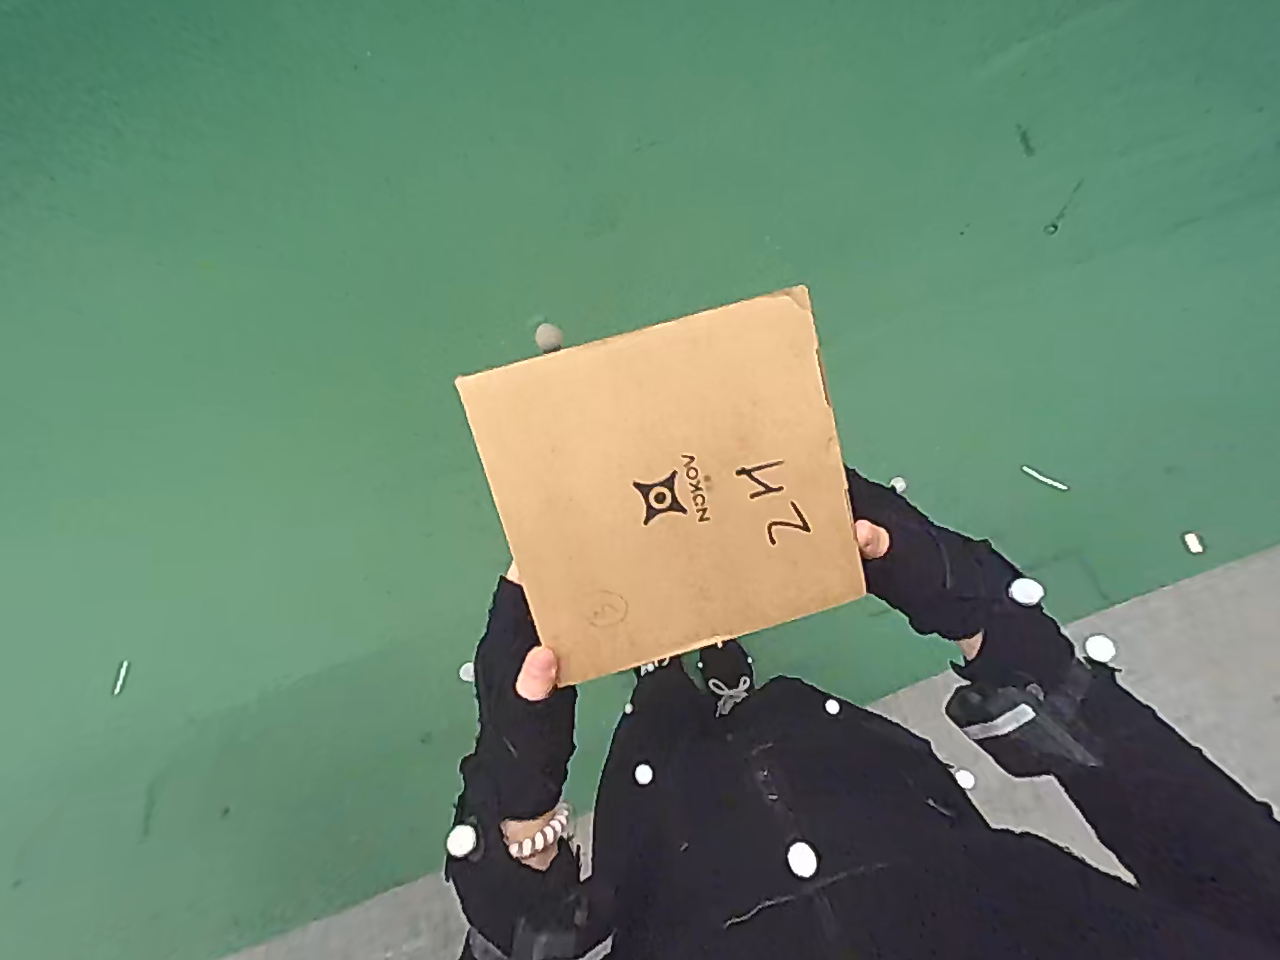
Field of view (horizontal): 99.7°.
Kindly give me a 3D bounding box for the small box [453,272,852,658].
[{"bbox_3d":[0.006,-0.017,0.352,0.179,0.176,0.168,-15,102,-3],"label":"small box"}]
